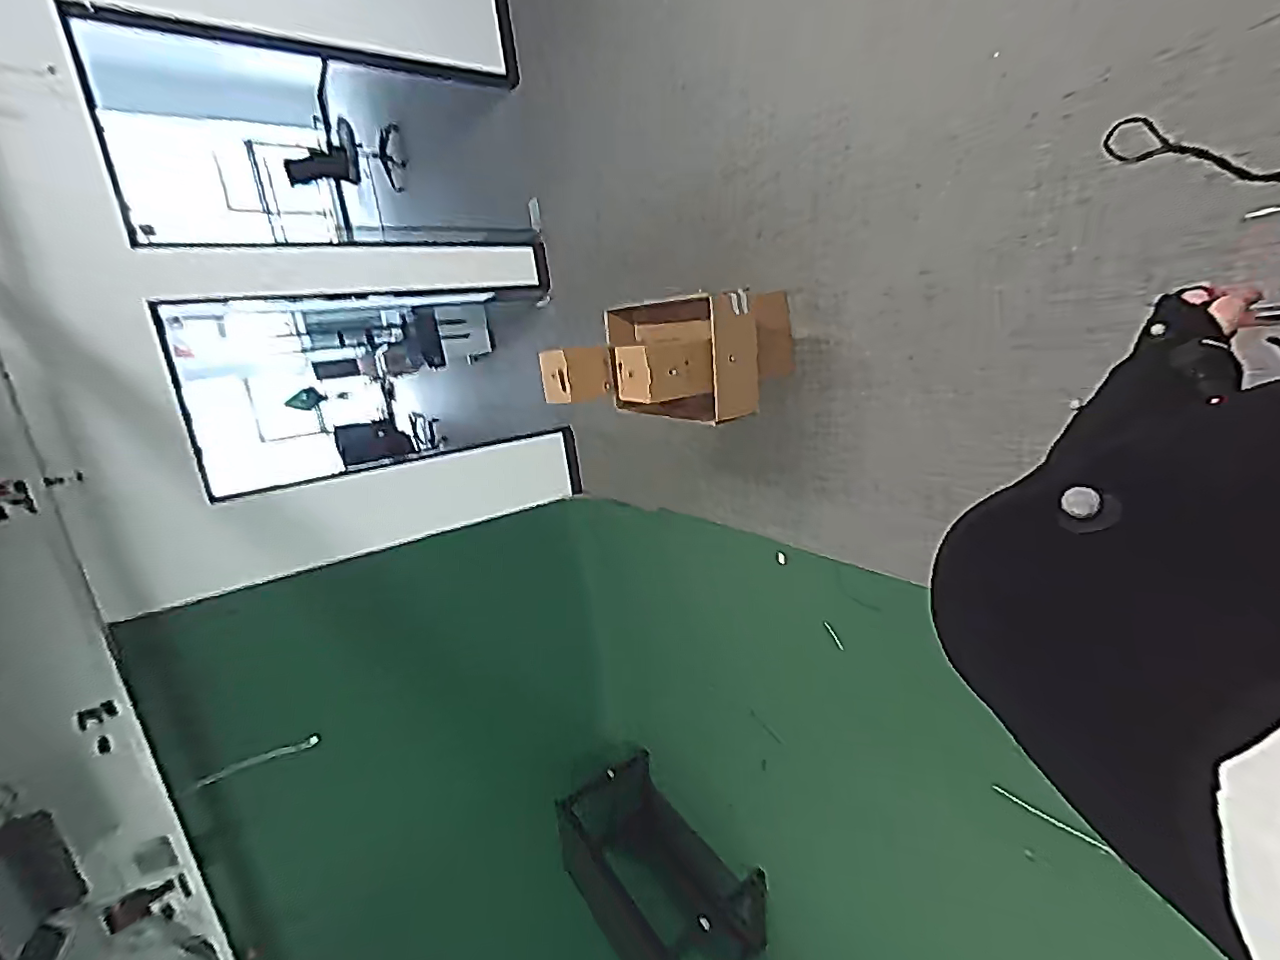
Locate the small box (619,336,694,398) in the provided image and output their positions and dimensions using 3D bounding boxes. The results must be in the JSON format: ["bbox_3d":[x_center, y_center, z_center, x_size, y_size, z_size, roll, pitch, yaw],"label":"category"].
[{"bbox_3d":[0.058,-0.357,1.685,0.179,0.176,0.168,20,119,54],"label":"small box"}]

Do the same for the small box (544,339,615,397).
[{"bbox_3d":[-0.193,-0.367,1.775,0.179,0.176,0.168,13,114,53],"label":"small box"}]

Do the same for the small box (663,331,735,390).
[{"bbox_3d":[0.193,-0.395,1.768,0.179,0.176,0.168,21,121,55],"label":"small box"}]

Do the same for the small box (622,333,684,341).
[{"bbox_3d":[0.057,-0.447,1.975,0.179,0.176,0.168,15,116,52],"label":"small box"}]
